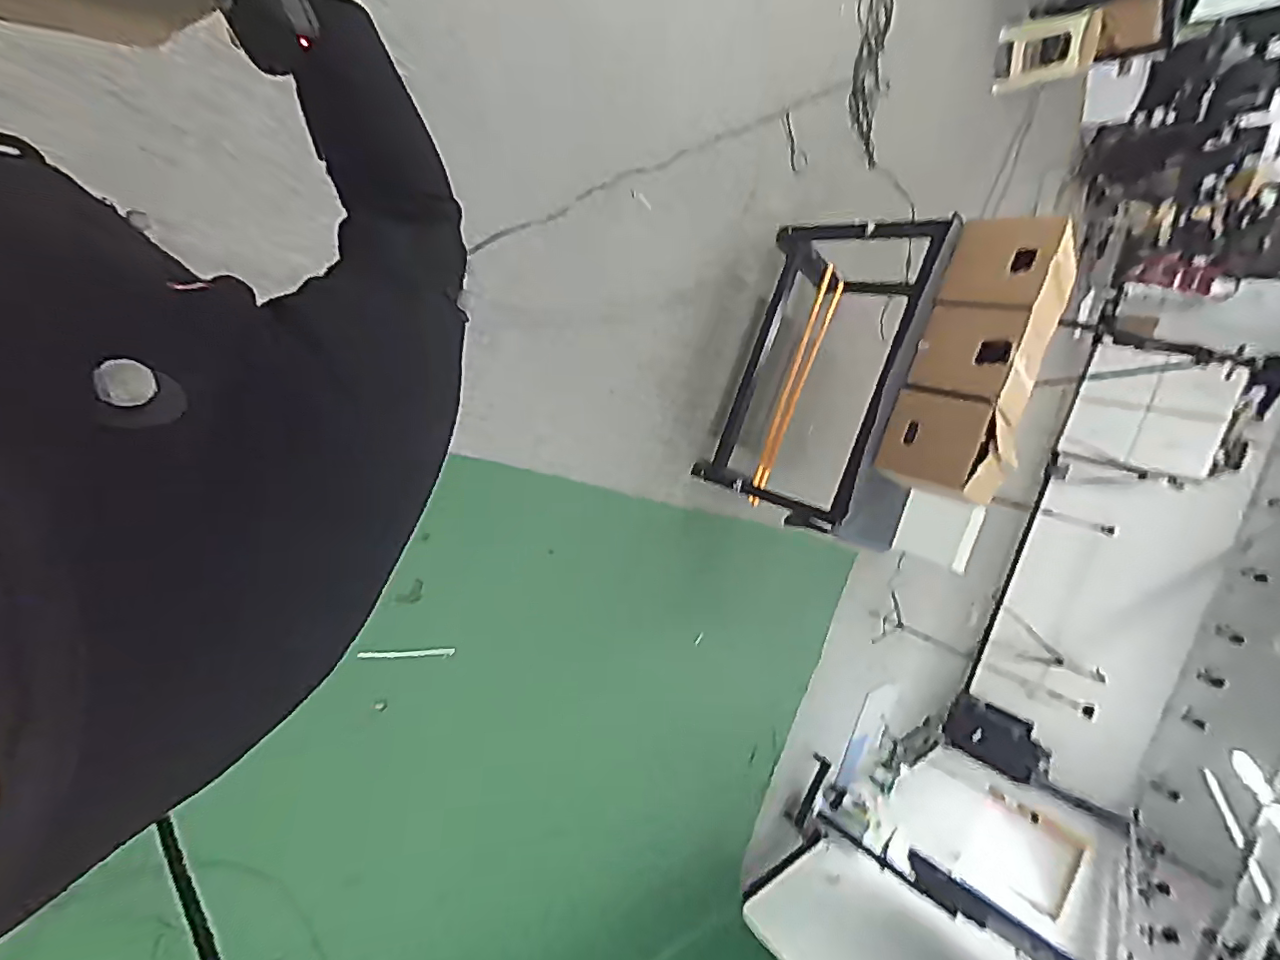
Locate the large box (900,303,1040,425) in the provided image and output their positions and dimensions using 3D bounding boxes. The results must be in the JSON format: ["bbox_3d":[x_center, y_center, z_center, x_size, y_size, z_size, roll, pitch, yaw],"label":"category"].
[{"bbox_3d":[1.230,-0.427,2.011,0.408,0.320,0.320,14,96,-47],"label":"large box"}]
